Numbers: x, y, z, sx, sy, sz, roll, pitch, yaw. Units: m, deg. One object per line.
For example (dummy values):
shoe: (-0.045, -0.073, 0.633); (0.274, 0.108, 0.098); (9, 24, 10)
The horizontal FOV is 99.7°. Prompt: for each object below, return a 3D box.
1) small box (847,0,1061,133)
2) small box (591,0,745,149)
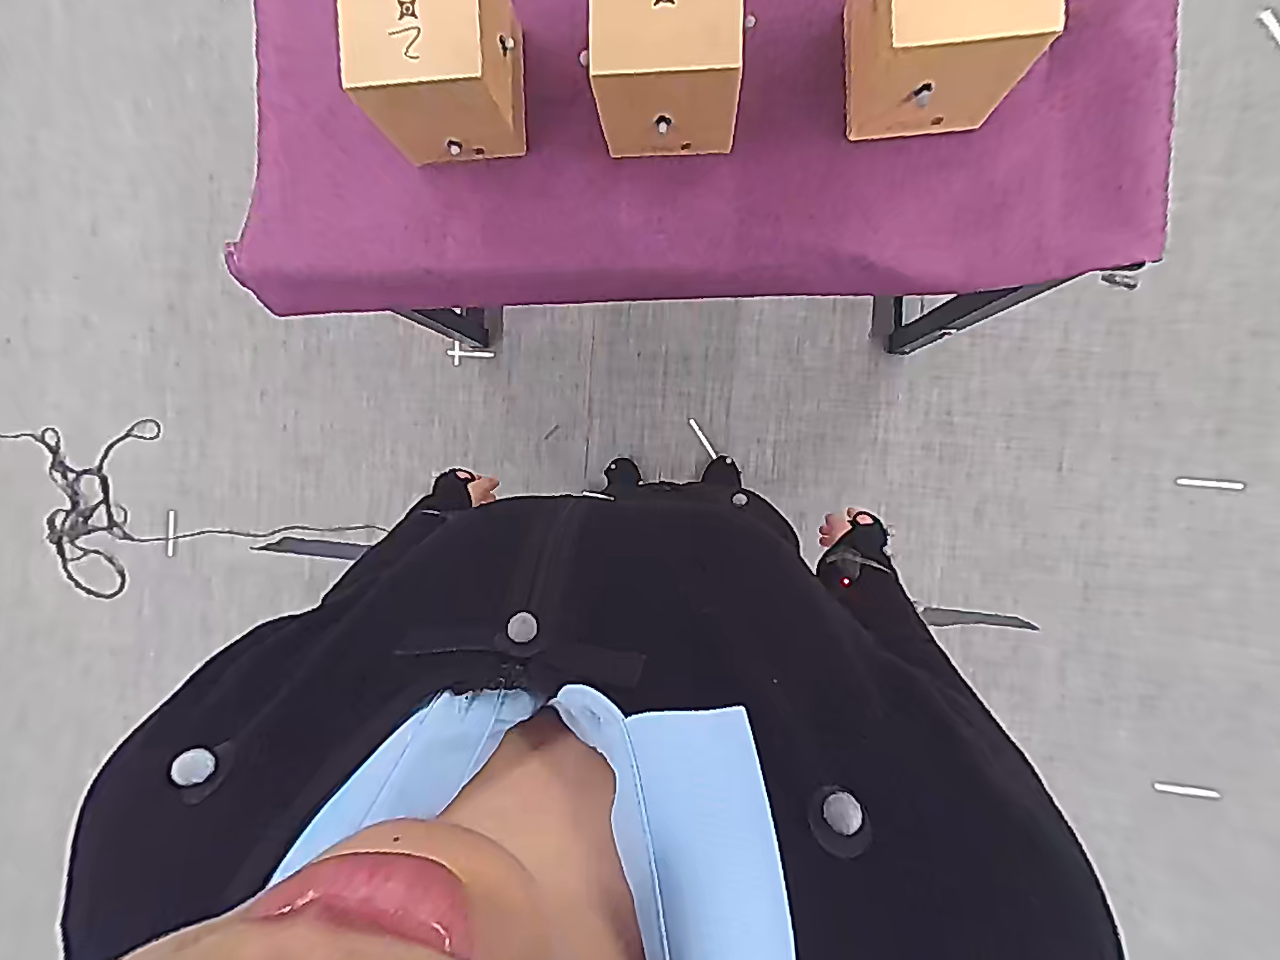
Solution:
small box: (0.346, -0.533, 0.625); (0.168, 0.176, 0.179); (-1, 91, 6)
small box: (0.038, -0.528, 0.653); (0.168, 0.176, 0.179); (2, 93, 4)
